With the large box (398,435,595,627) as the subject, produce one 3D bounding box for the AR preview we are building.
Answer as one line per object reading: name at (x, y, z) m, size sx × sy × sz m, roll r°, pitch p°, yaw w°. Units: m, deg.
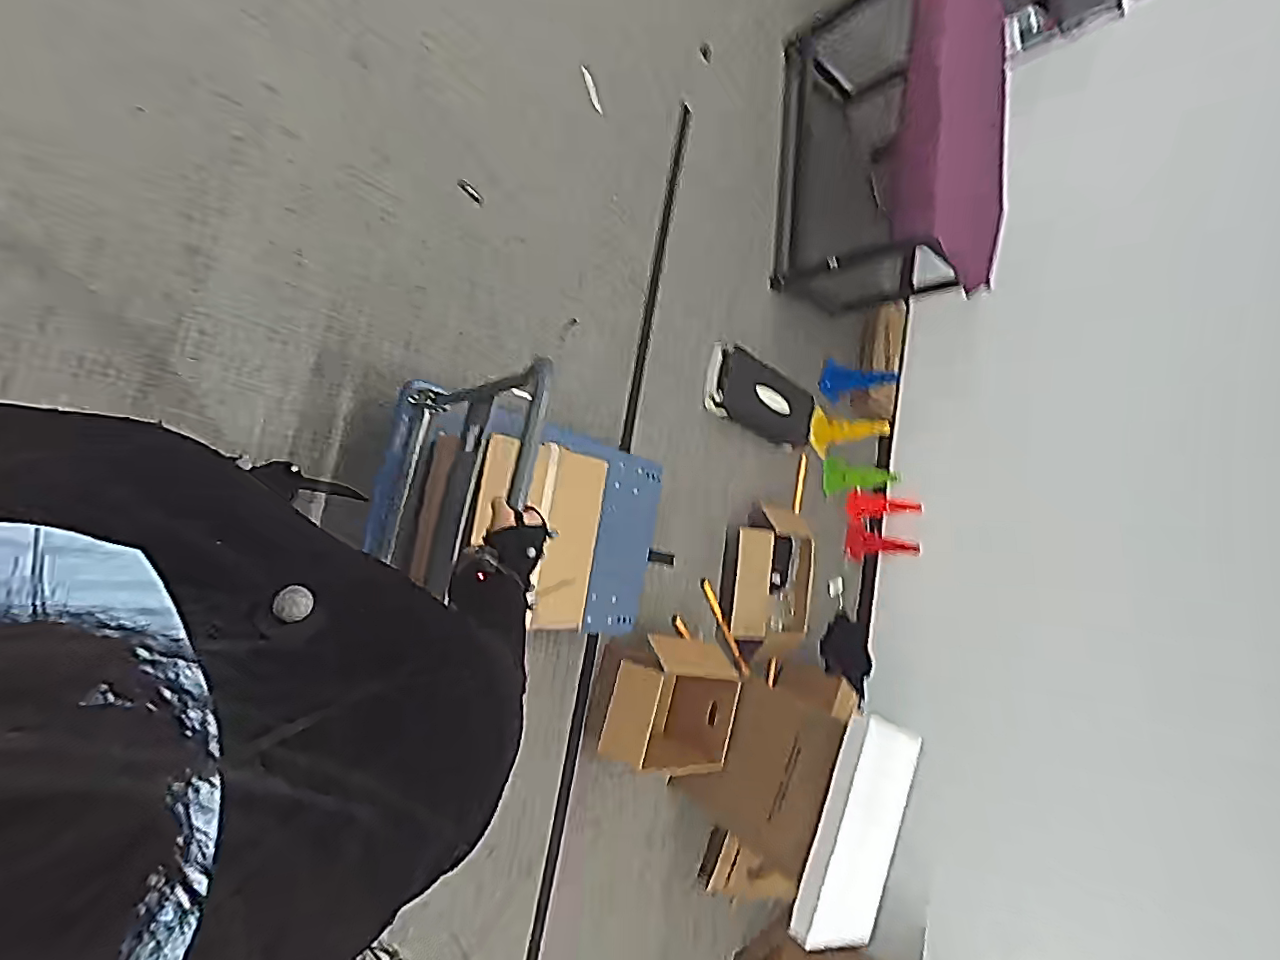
large box at (-0.349, 0.117, 1.307) m, size 0.320 × 0.320 × 0.408 m, roll 14°, pitch 84°, yaw -41°
